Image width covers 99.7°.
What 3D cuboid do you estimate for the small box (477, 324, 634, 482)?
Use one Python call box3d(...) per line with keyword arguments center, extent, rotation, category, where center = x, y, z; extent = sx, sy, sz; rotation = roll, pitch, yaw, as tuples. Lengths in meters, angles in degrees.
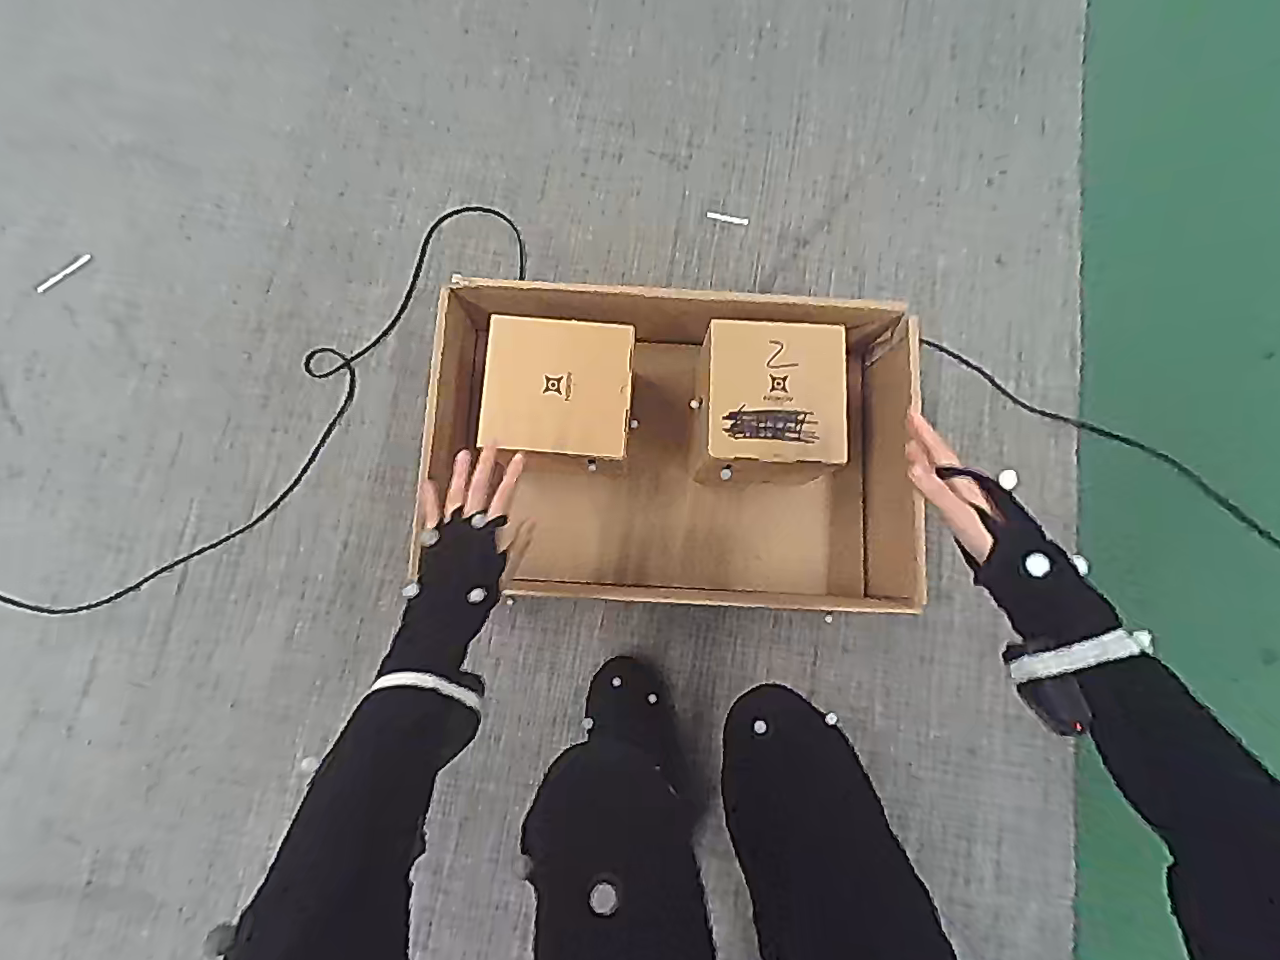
box3d(center=(-0.101, -0.092, 0.724), extent=(0.179, 0.176, 0.168), rotation=(4, 81, -2), category="small box")
